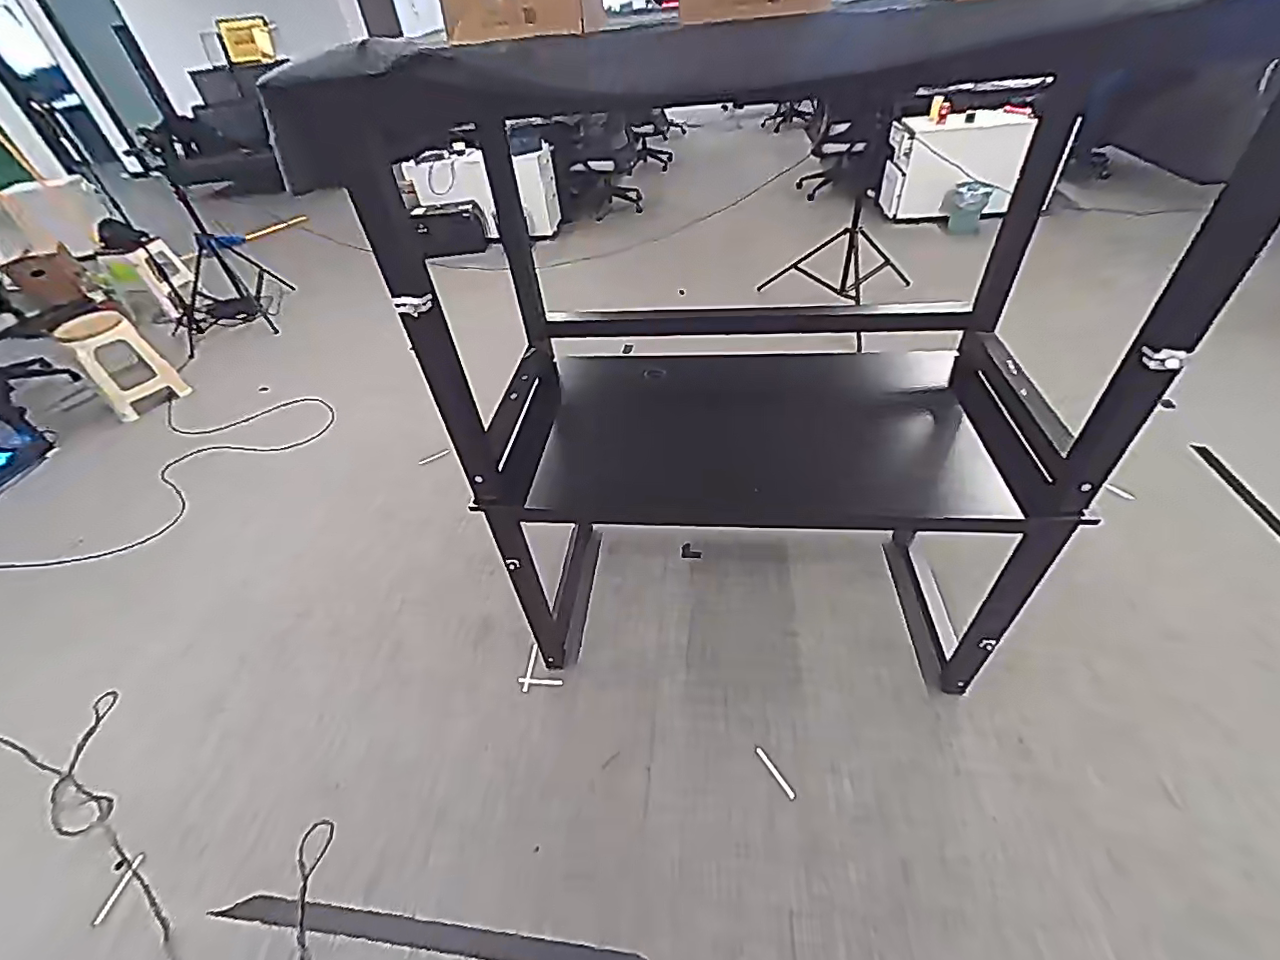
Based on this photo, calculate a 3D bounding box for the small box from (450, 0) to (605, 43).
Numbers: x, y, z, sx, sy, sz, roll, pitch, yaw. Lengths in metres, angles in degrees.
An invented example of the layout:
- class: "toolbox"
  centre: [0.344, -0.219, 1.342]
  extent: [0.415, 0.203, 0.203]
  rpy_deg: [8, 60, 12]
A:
- class: "small box"
  centre: [-0.137, -0.632, 0.642]
  extent: [0.168, 0.176, 0.179]
  rpy_deg: [1, 42, 6]

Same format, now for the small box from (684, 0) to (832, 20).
- class: "small box"
  centre: [0.133, -0.630, 0.604]
  extent: [0.168, 0.176, 0.179]
  rpy_deg: [1, 41, 9]
